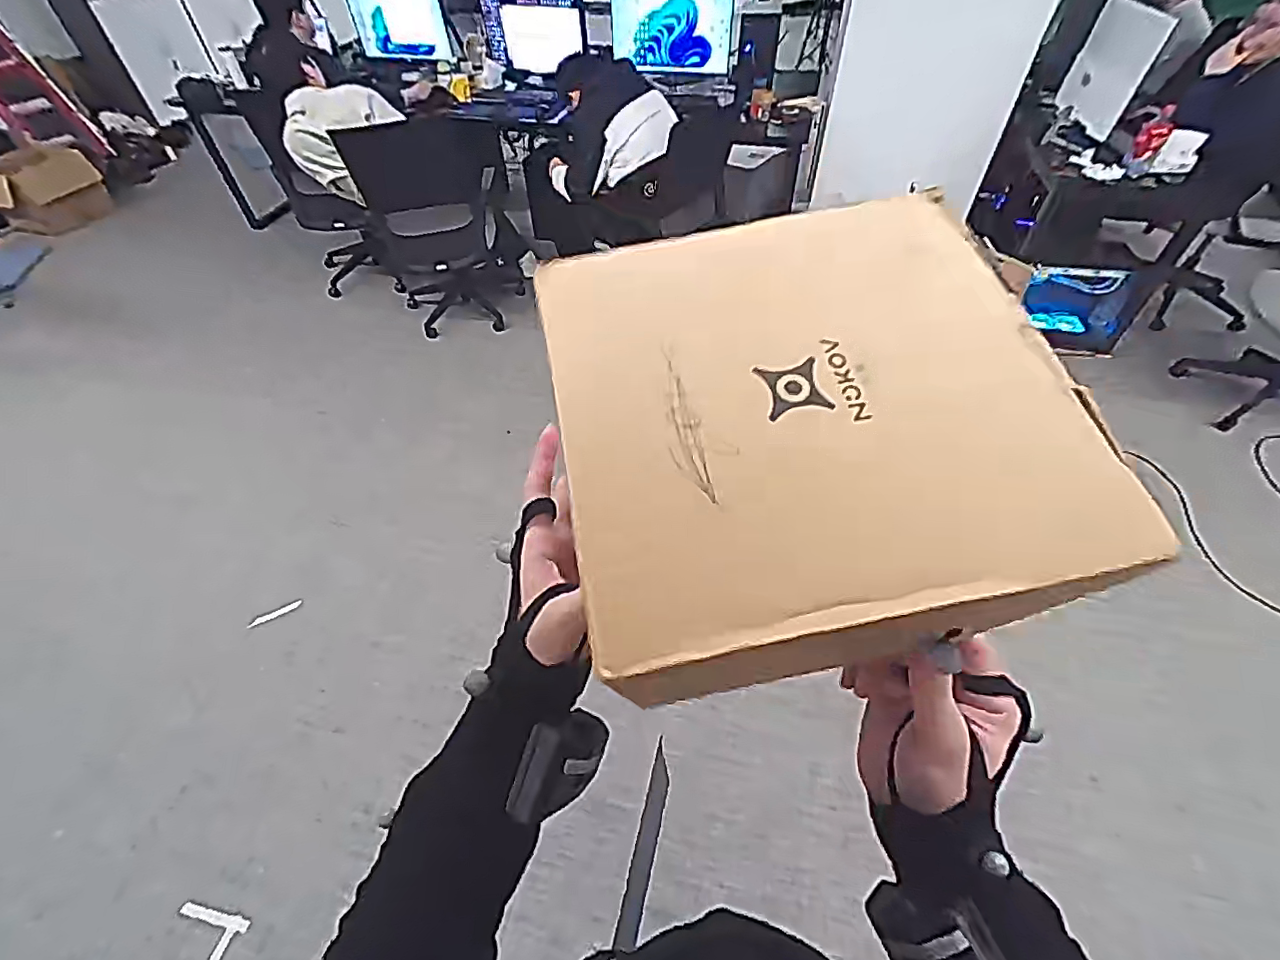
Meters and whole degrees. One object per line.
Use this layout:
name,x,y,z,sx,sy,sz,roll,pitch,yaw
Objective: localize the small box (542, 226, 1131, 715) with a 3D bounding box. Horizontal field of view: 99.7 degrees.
small box,0.063,0.011,0.276,0.179,0.176,0.168,-14,62,-1
